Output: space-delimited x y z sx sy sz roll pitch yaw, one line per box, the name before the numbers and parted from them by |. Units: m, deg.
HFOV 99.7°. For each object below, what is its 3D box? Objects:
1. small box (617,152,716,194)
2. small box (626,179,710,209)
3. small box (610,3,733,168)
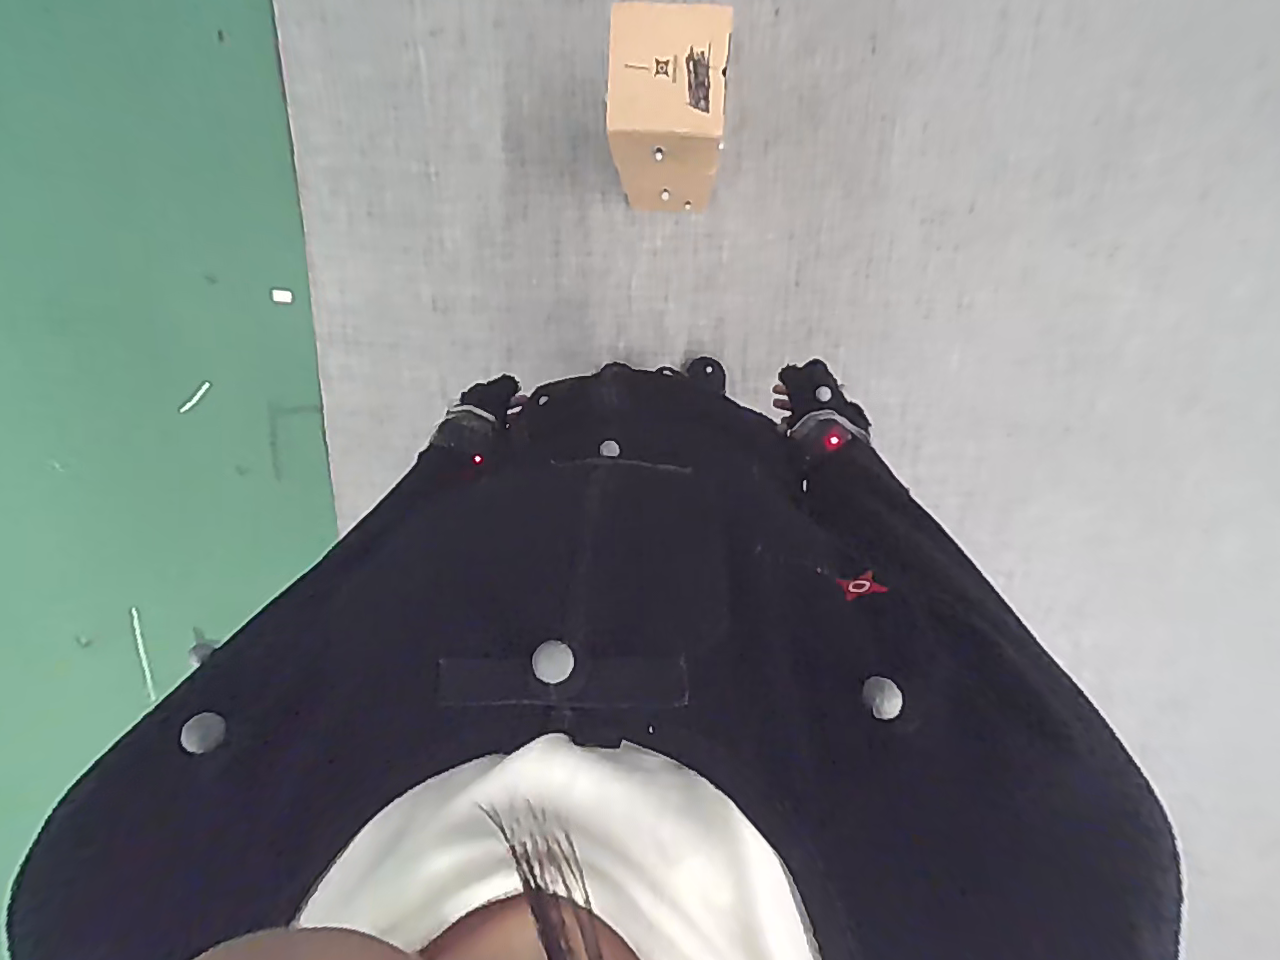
small box | 0.055 -0.654 1.022 0.179 0.176 0.168 6 104 1
small box | 0.064 -0.701 1.179 0.179 0.176 0.168 3 104 4
small box | 0.044 -0.615 0.862 0.179 0.176 0.168 1 105 1
